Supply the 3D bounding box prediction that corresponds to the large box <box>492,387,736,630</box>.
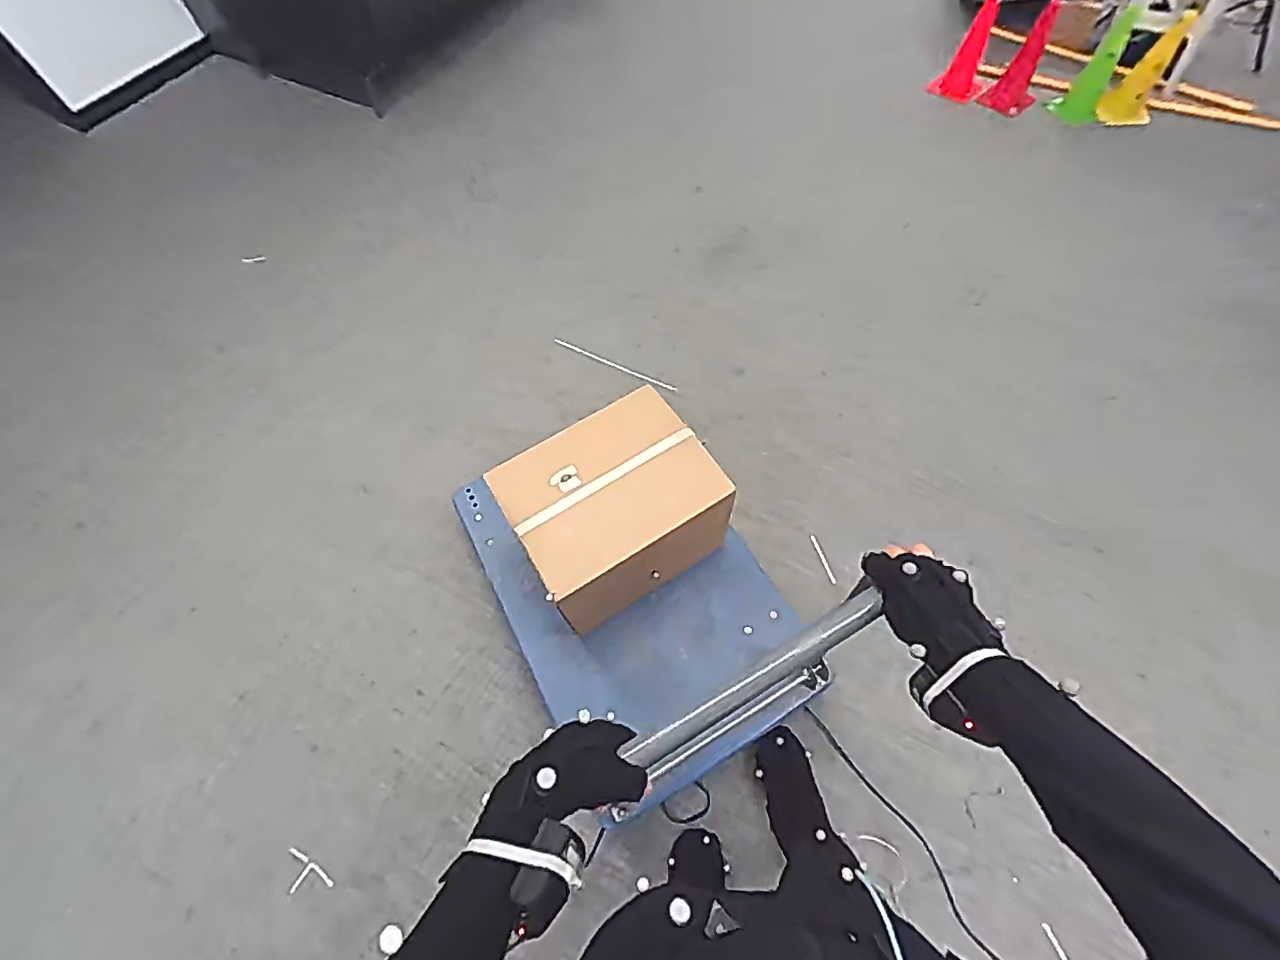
[{"bbox_3d":[-0.048,0.073,1.206,0.408,0.320,0.320,-31,65,-12],"label":"large box"}]
